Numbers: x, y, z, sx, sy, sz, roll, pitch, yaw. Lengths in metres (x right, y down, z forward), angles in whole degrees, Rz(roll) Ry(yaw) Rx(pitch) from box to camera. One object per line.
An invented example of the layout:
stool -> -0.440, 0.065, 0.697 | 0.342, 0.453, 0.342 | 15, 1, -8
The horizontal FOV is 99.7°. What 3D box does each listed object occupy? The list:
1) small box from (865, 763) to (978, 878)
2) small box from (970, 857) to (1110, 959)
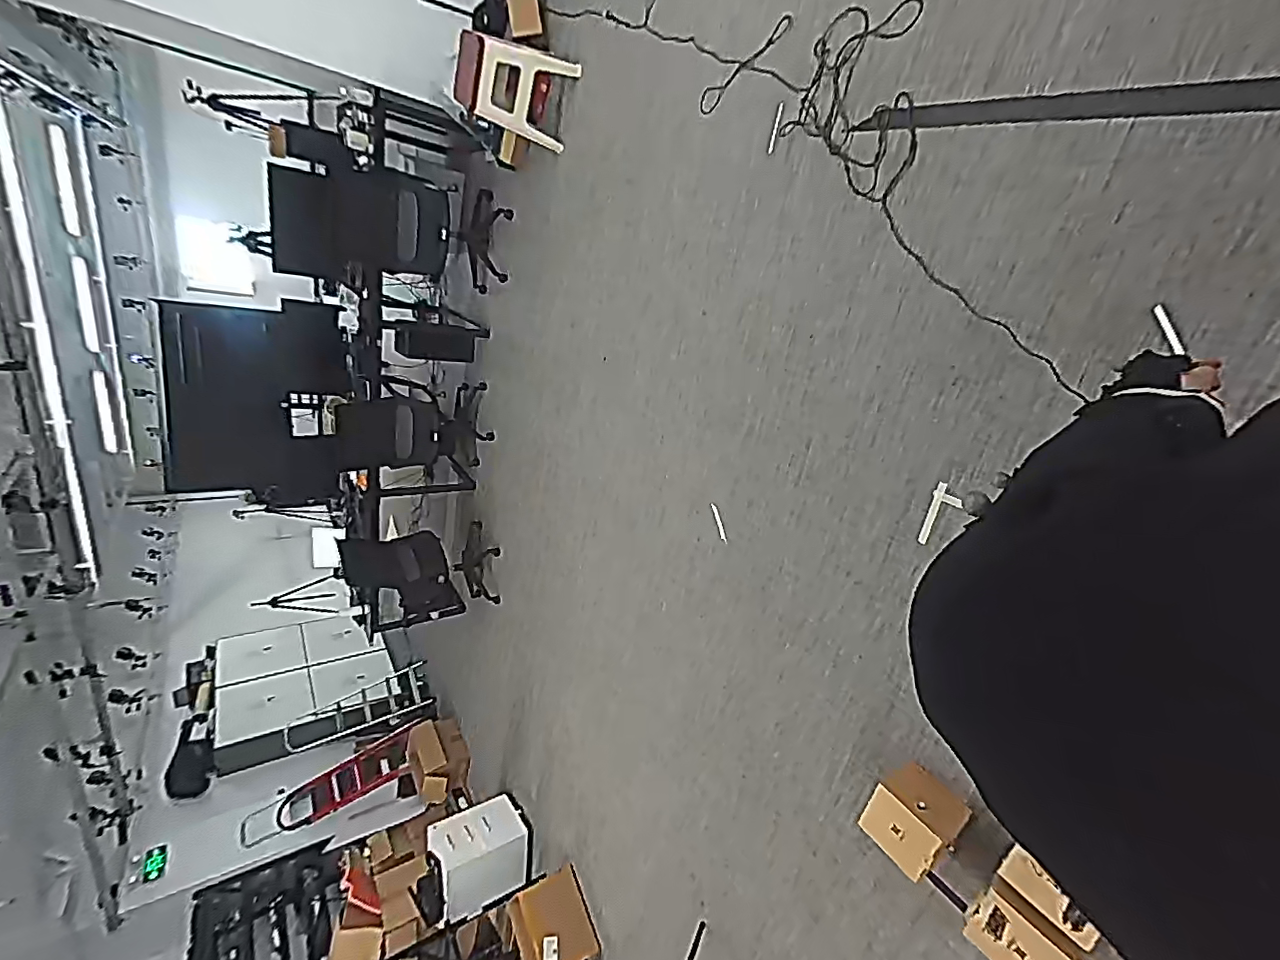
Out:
small box -> 0.737, 0.877, 1.418 | 0.179, 0.176, 0.168 | 37, 123, 45
small box -> 0.895, 0.993, 1.212 | 0.179, 0.176, 0.168 | 36, 122, 46
